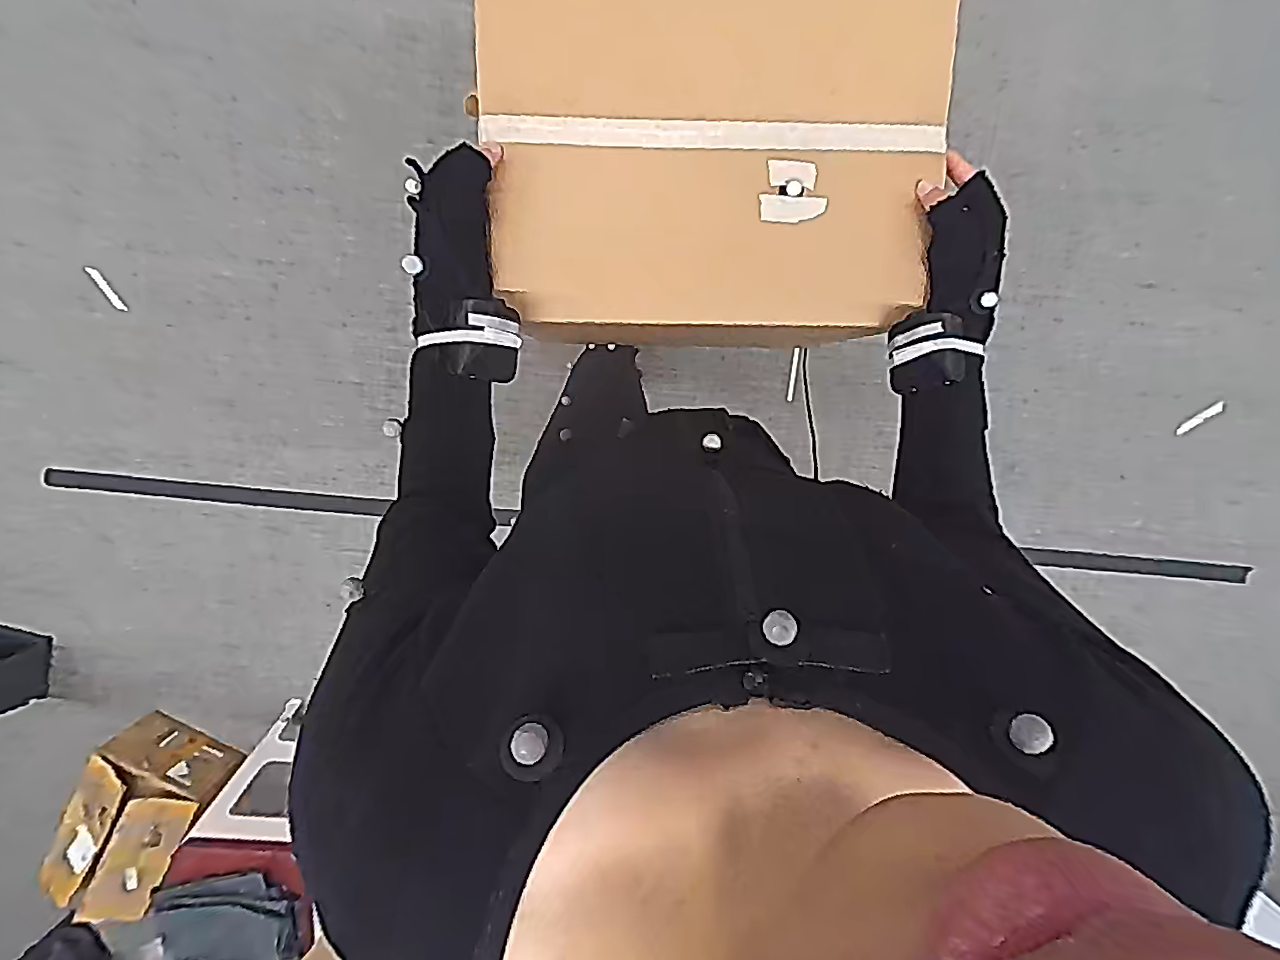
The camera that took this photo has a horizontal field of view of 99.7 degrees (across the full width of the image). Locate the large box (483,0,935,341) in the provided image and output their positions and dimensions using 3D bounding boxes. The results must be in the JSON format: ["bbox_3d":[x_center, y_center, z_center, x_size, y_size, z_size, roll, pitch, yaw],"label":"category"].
[{"bbox_3d":[0.056,-0.336,0.636,0.408,0.320,0.320,0,101,-3],"label":"large box"}]
